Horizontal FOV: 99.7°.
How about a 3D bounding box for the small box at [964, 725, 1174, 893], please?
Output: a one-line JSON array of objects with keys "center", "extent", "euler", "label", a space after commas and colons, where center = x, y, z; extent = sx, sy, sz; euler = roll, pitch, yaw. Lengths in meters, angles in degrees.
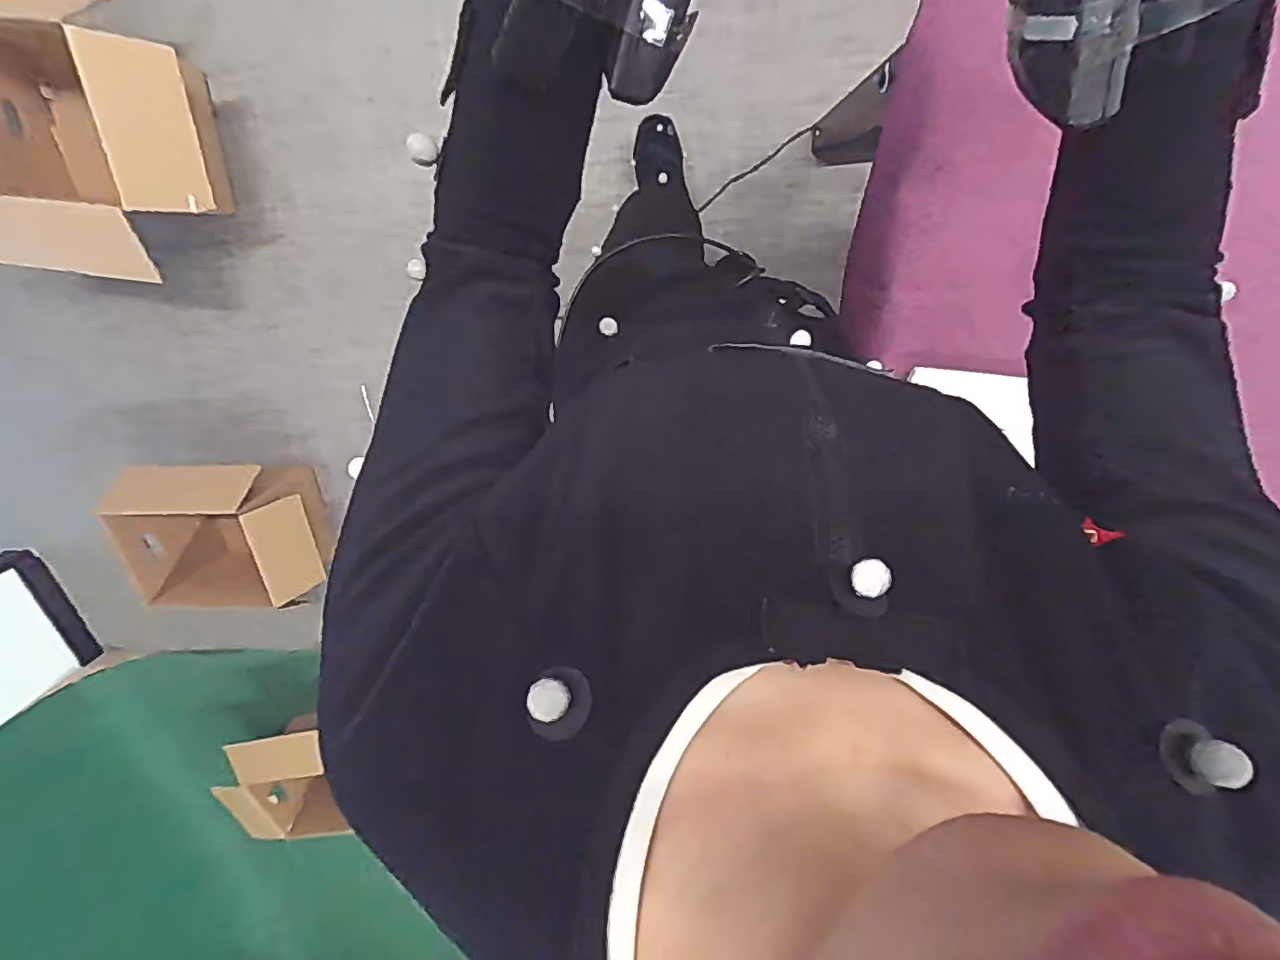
[{"center": [0.629, 0.499, 0.825], "extent": [0.179, 0.176, 0.168], "euler": [0, 115, 6], "label": "small box"}]
